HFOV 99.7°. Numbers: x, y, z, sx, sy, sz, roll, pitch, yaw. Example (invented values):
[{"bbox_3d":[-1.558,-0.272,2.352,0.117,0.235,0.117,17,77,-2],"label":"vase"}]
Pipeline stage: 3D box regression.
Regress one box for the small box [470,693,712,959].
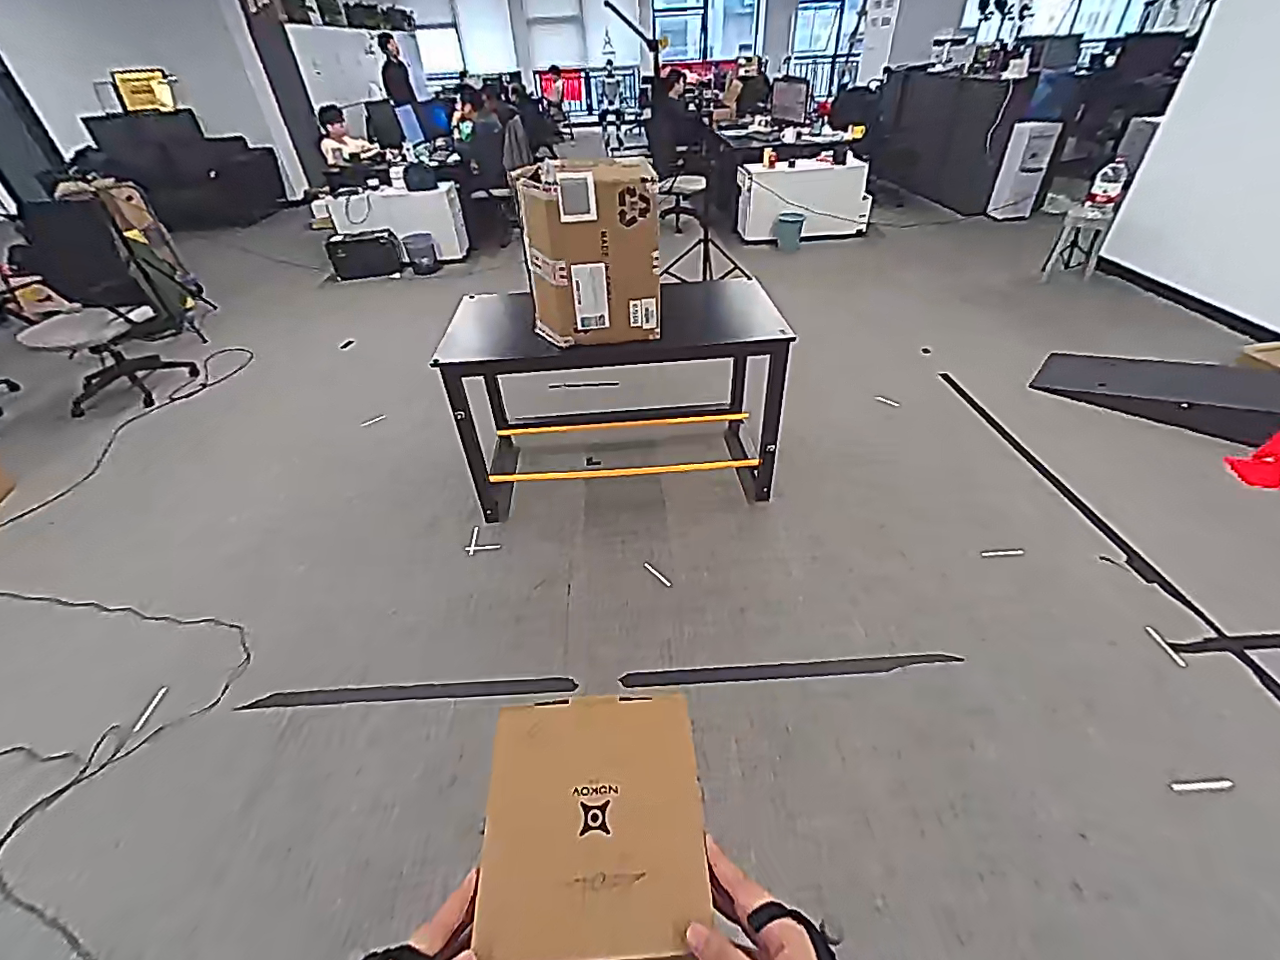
[{"bbox_3d":[-0.038,0.309,0.475,0.168,0.176,0.179,-2,45,-3],"label":"small box"}]
